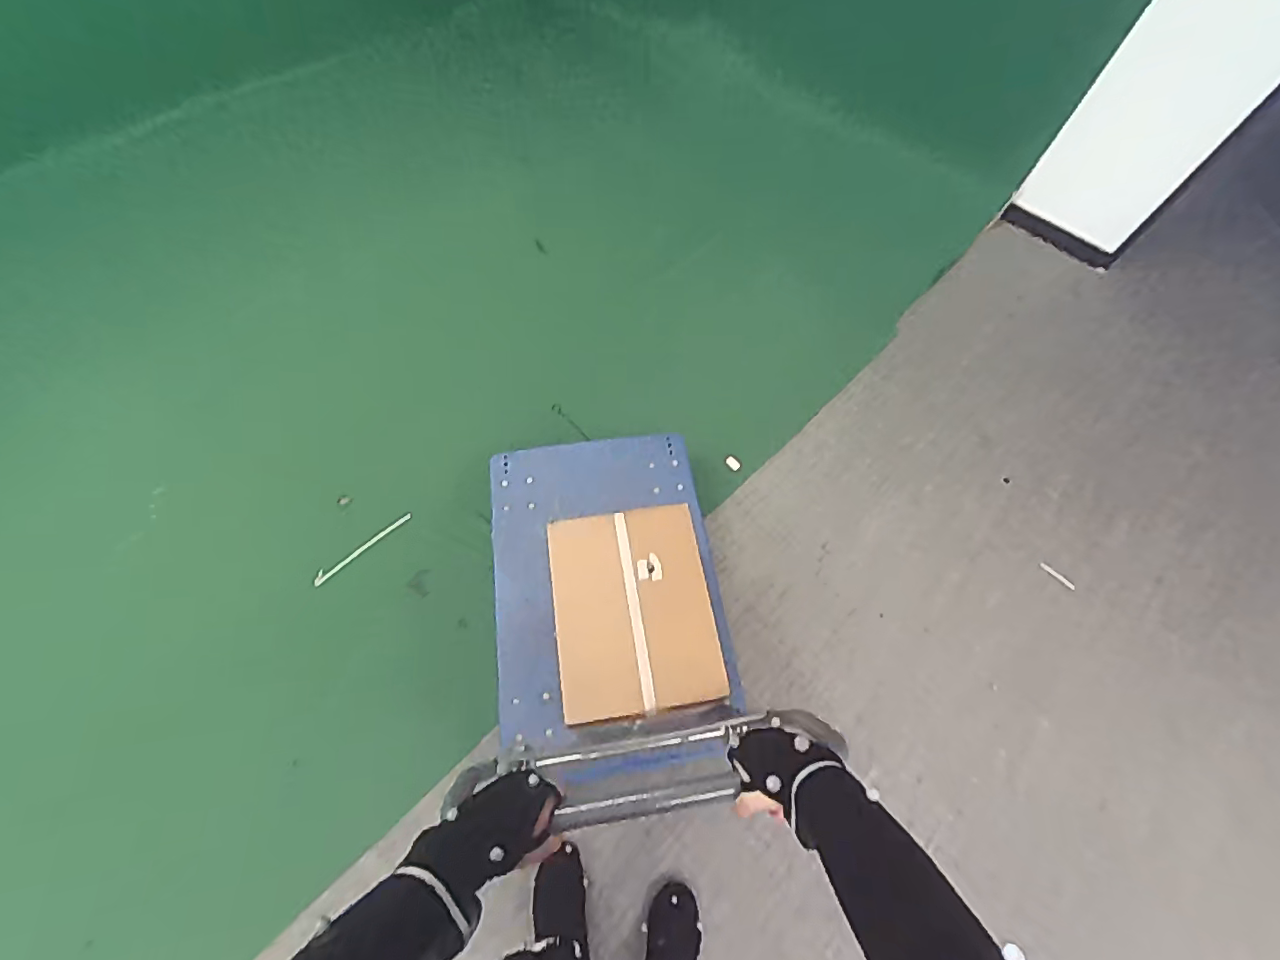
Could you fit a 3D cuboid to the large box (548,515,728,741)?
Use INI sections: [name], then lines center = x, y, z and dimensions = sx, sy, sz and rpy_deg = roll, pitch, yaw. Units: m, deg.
[large box]
center = -0.020, 0.341, 1.230
dimensions = 0.320, 0.320, 0.408
rpy_deg = -7, 62, -7
